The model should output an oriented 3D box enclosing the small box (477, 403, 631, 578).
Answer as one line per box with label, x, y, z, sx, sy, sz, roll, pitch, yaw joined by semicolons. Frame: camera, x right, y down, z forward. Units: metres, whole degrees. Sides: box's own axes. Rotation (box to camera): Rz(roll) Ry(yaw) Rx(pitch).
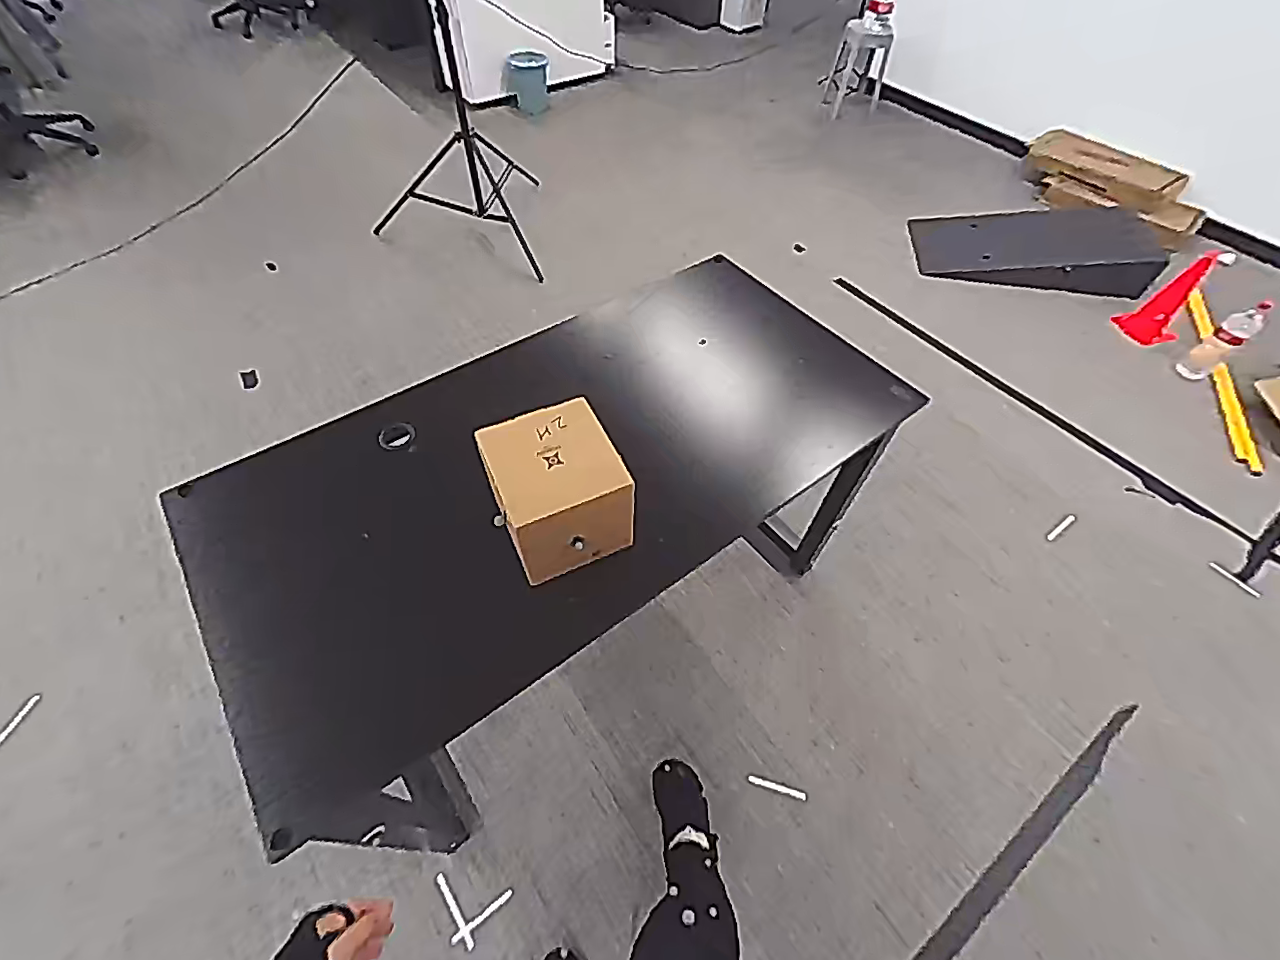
small box;-0.120;0.023;0.795;0.168;0.176;0.179;-20;57;-17
